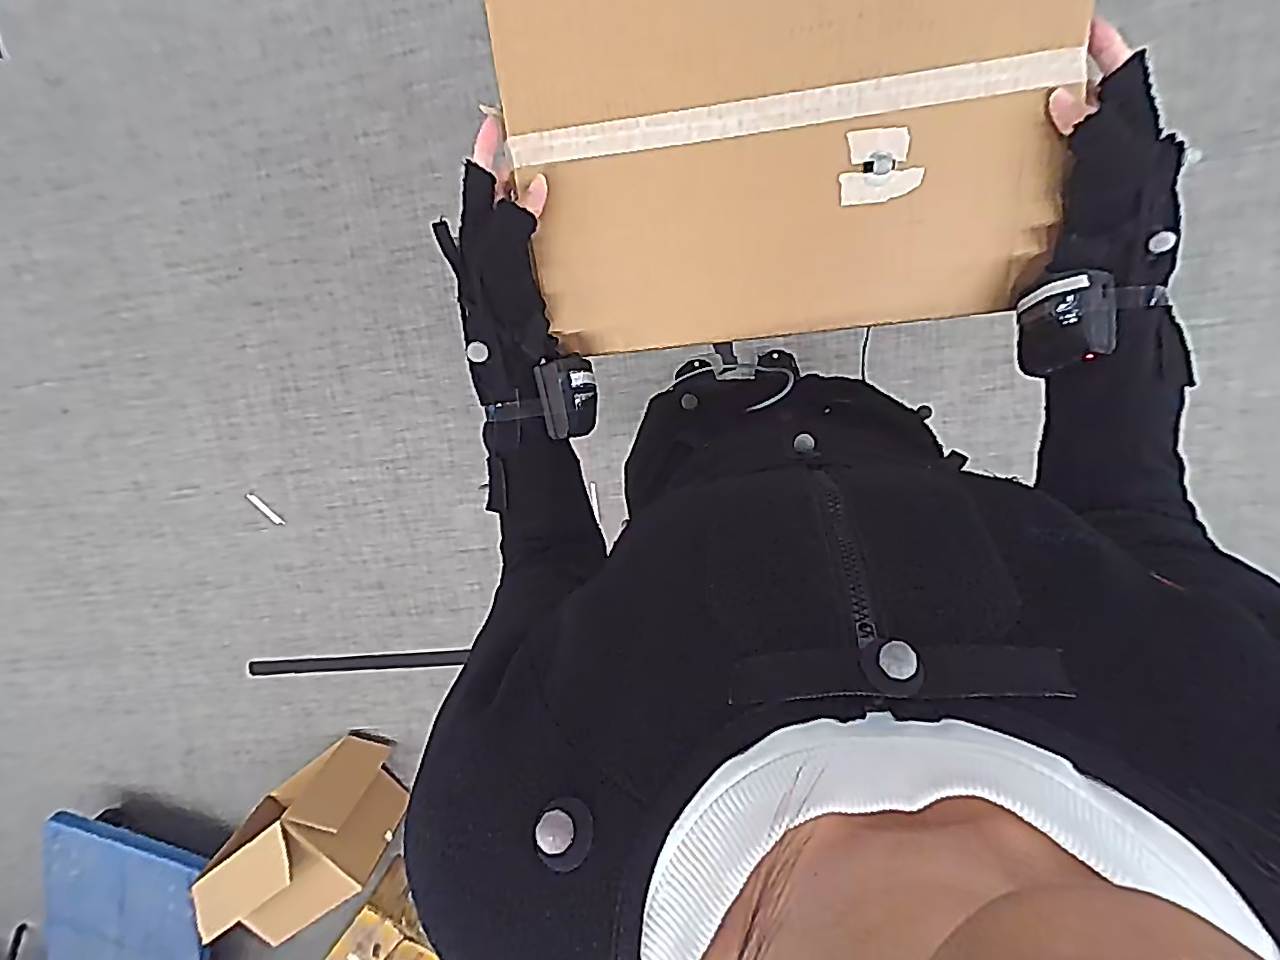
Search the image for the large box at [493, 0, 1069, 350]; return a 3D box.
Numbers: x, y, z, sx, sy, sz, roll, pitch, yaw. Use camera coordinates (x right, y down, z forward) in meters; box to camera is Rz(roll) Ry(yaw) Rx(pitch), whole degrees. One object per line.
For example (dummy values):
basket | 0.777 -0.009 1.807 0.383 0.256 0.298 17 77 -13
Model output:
large box | 0.109 -0.324 0.542 0.408 0.320 0.320 -6 109 5
